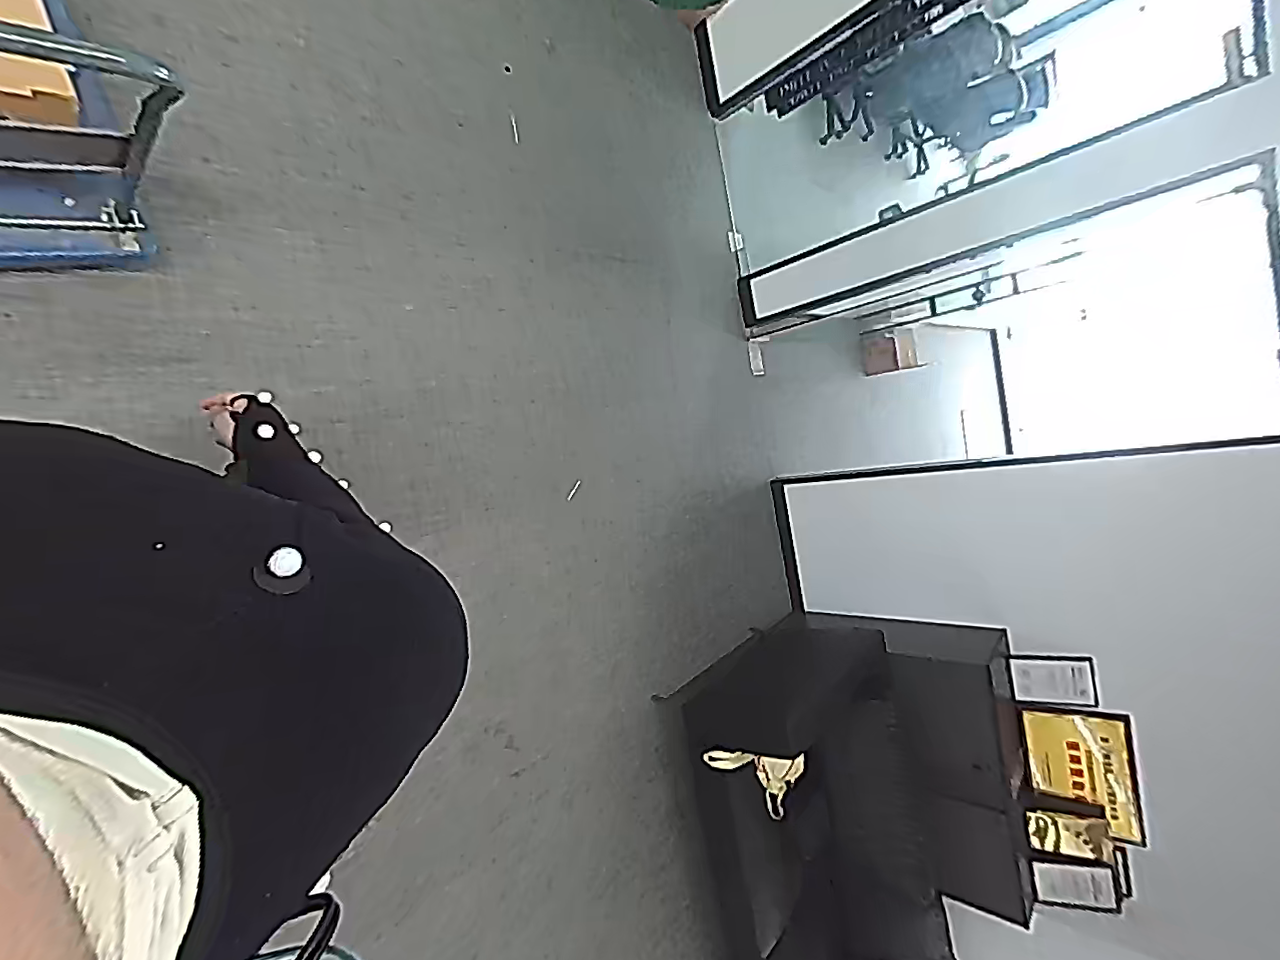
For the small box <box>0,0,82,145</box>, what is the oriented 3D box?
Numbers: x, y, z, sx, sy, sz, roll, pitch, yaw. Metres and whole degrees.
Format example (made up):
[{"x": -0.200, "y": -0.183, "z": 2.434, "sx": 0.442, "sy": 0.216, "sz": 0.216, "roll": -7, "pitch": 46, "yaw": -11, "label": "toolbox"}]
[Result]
[{"x": -1.143, "y": -0.740, "z": 0.962, "sx": 0.168, "sy": 0.176, "sz": 0.179, "roll": -23, "pitch": 103, "yaw": -45, "label": "small box"}]
